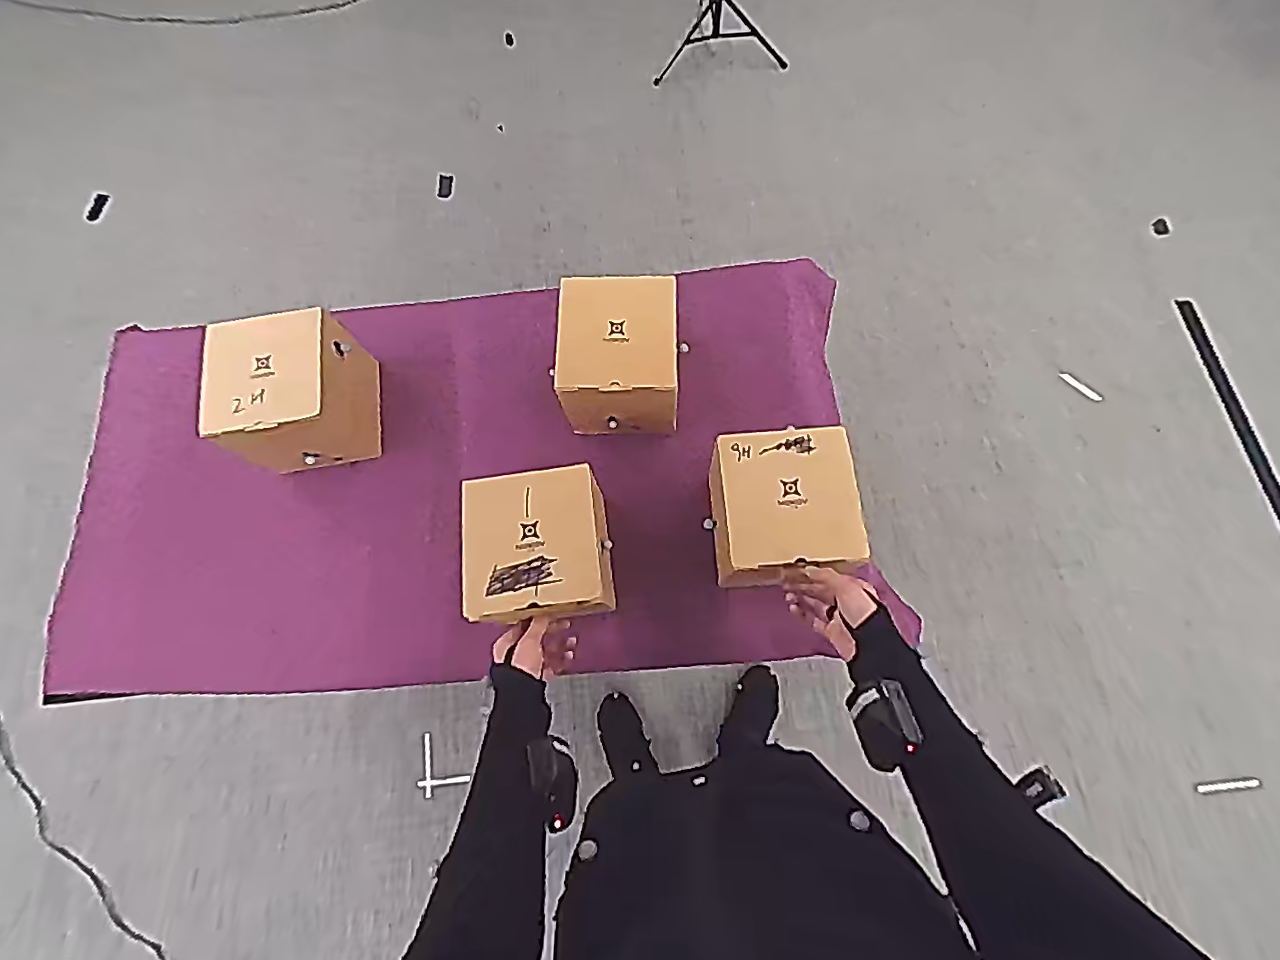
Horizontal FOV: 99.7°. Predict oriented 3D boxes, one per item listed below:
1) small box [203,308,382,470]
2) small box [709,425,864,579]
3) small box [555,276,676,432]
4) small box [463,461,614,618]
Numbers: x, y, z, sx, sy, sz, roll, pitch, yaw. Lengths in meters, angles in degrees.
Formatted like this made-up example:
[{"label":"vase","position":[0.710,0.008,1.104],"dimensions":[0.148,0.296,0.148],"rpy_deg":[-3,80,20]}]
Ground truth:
[{"label":"small box","position":[-0.515,-0.131,0.826],"dimensions":[0.168,0.176,0.179],"rpy_deg":[-9,73,0]},{"label":"small box","position":[0.186,0.040,0.741],"dimensions":[0.168,0.176,0.179],"rpy_deg":[-3,71,2]},{"label":"small box","position":[-0.029,-0.185,0.824],"dimensions":[0.168,0.176,0.179],"rpy_deg":[0,74,3]},{"label":"small box","position":[-0.131,0.091,0.740],"dimensions":[0.168,0.176,0.179],"rpy_deg":[-8,71,0]}]
